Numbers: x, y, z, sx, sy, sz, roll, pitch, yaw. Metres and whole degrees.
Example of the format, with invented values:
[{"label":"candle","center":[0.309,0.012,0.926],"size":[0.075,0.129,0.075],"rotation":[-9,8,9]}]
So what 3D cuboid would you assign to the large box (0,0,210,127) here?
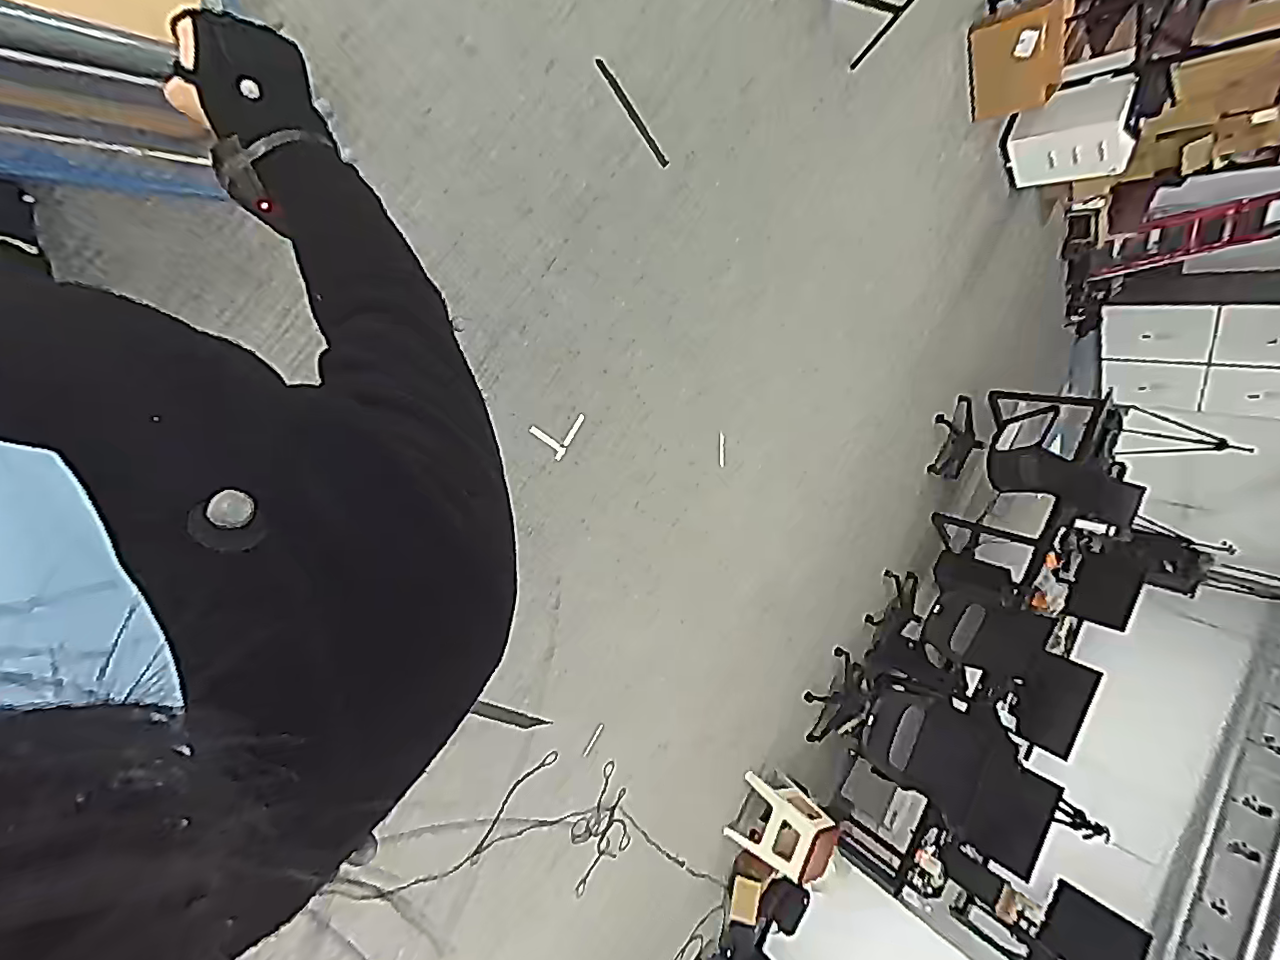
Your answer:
[{"label":"large box","center":[-0.825,-0.686,0.663],"size":[0.408,0.320,0.320],"rotation":[-13,112,-41]}]
